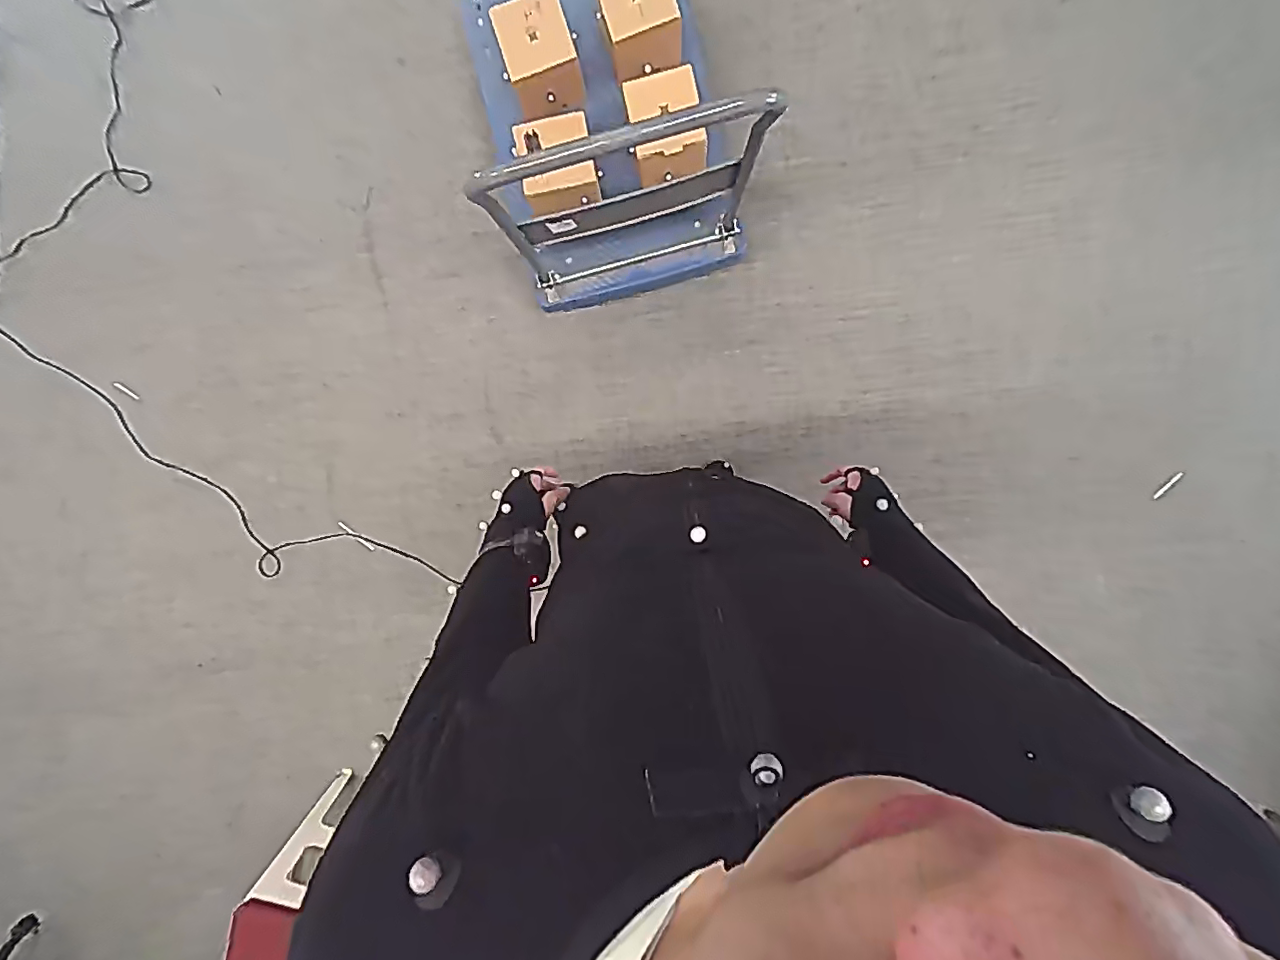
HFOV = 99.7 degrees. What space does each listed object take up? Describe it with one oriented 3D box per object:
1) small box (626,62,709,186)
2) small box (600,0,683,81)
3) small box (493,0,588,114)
[{"bbox_3d":[0.068,-0.867,1.332,0.168,0.176,0.179,-13,93,5],"label":"small box"},{"bbox_3d":[0.001,-1.129,1.318,0.168,0.176,0.179,-17,93,6],"label":"small box"},{"bbox_3d":[-0.238,-1.052,1.340,0.168,0.176,0.179,-17,92,4],"label":"small box"}]
